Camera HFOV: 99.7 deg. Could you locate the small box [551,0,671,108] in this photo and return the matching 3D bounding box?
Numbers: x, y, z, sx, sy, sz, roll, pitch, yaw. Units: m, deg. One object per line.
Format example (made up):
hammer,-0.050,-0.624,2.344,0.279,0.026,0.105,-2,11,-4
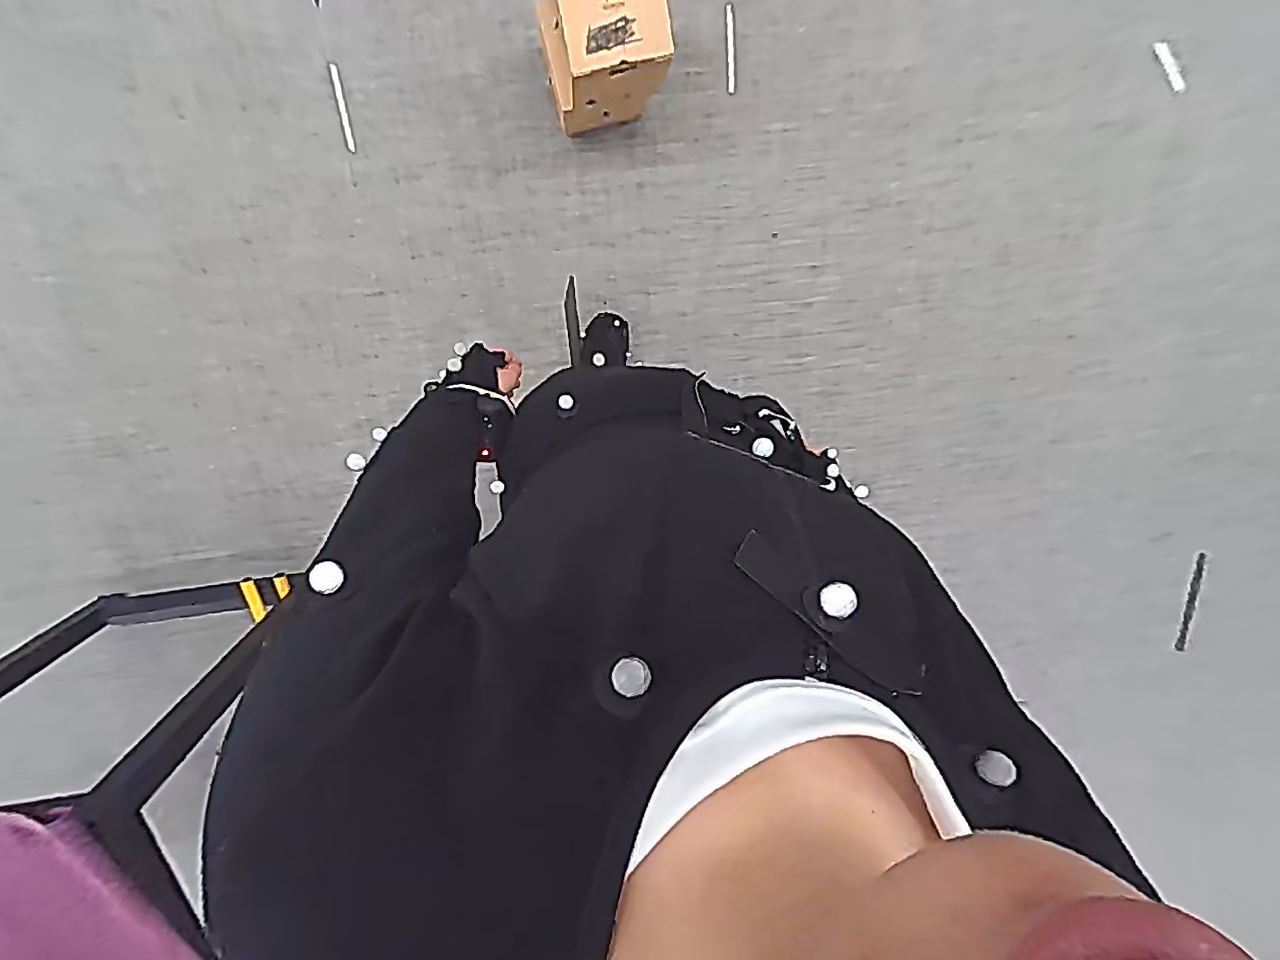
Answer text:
small box,-0.051,-0.742,0.890,0.168,0.176,0.179,-13,109,-2
